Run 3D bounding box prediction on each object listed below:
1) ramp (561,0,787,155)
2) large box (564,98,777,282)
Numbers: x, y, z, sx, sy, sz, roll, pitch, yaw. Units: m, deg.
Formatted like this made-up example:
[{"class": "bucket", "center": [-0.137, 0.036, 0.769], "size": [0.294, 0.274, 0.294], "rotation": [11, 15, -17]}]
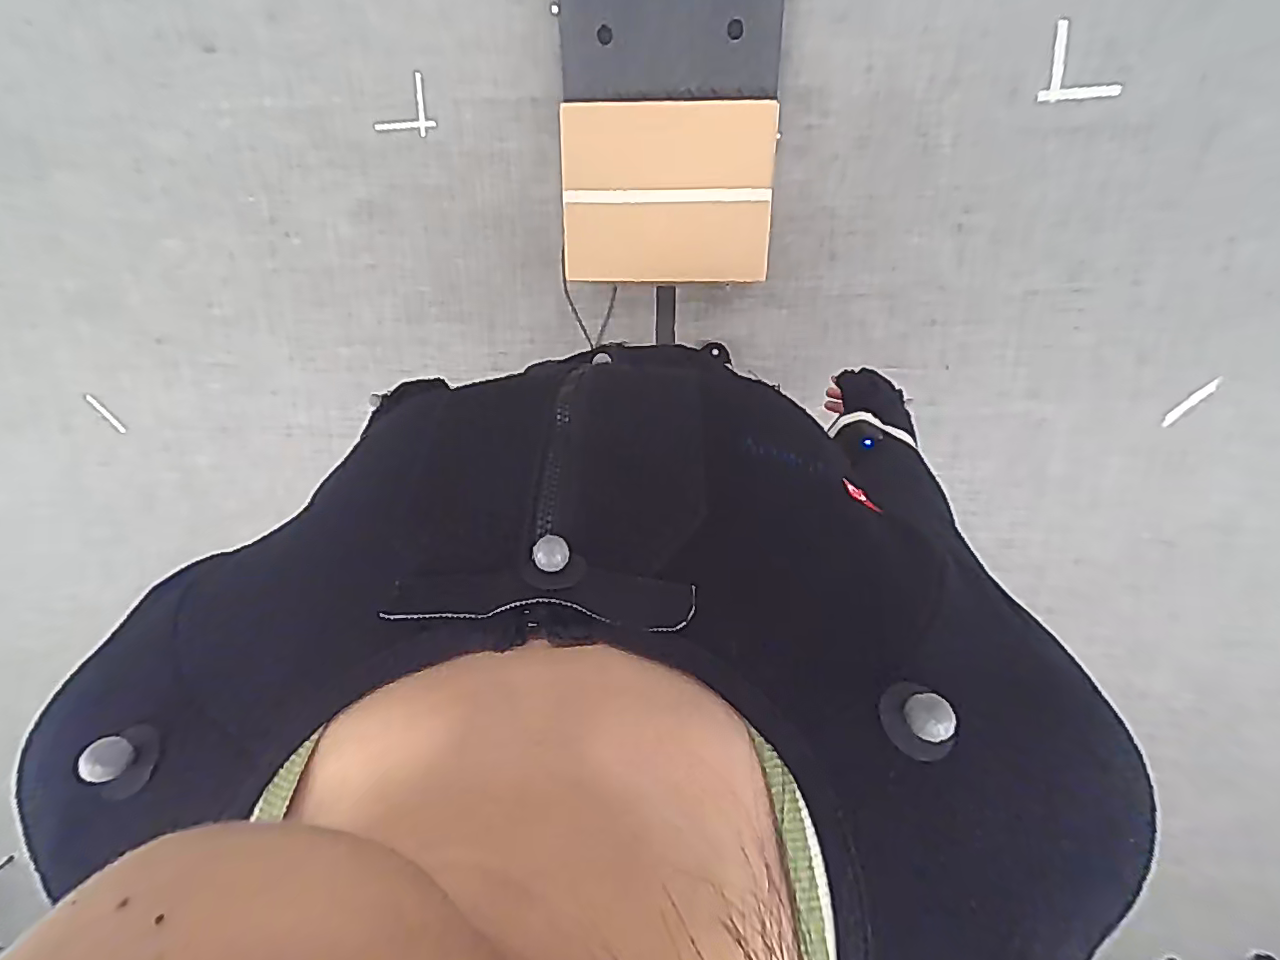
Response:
[{"class": "ramp", "center": [0.070, -1.187, 1.104], "size": [0.509, 0.206, 0.991], "rotation": [-1, 105, 3]}, {"class": "large box", "center": [0.068, -0.603, 1.189], "size": [0.408, 0.320, 0.320], "rotation": [1, 108, 4]}]
